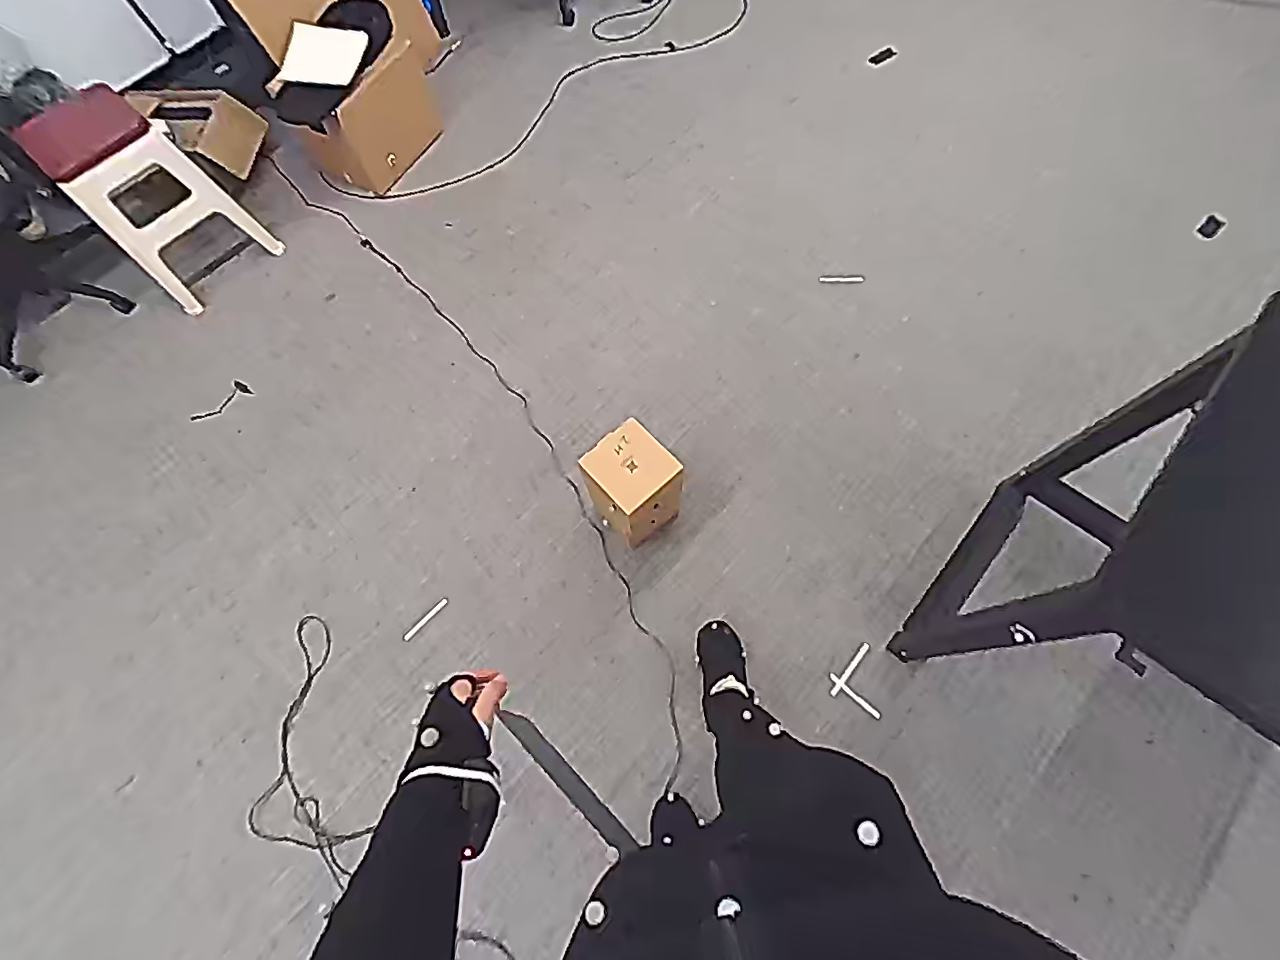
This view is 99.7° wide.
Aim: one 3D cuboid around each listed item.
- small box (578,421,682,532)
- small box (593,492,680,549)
[{"bbox_3d":[-0.019,0.002,1.262,0.168,0.176,0.179,-40,71,-14],"label":"small box"},{"bbox_3d":[-0.015,0.053,1.418,0.179,0.176,0.168,-37,71,-11],"label":"small box"}]
